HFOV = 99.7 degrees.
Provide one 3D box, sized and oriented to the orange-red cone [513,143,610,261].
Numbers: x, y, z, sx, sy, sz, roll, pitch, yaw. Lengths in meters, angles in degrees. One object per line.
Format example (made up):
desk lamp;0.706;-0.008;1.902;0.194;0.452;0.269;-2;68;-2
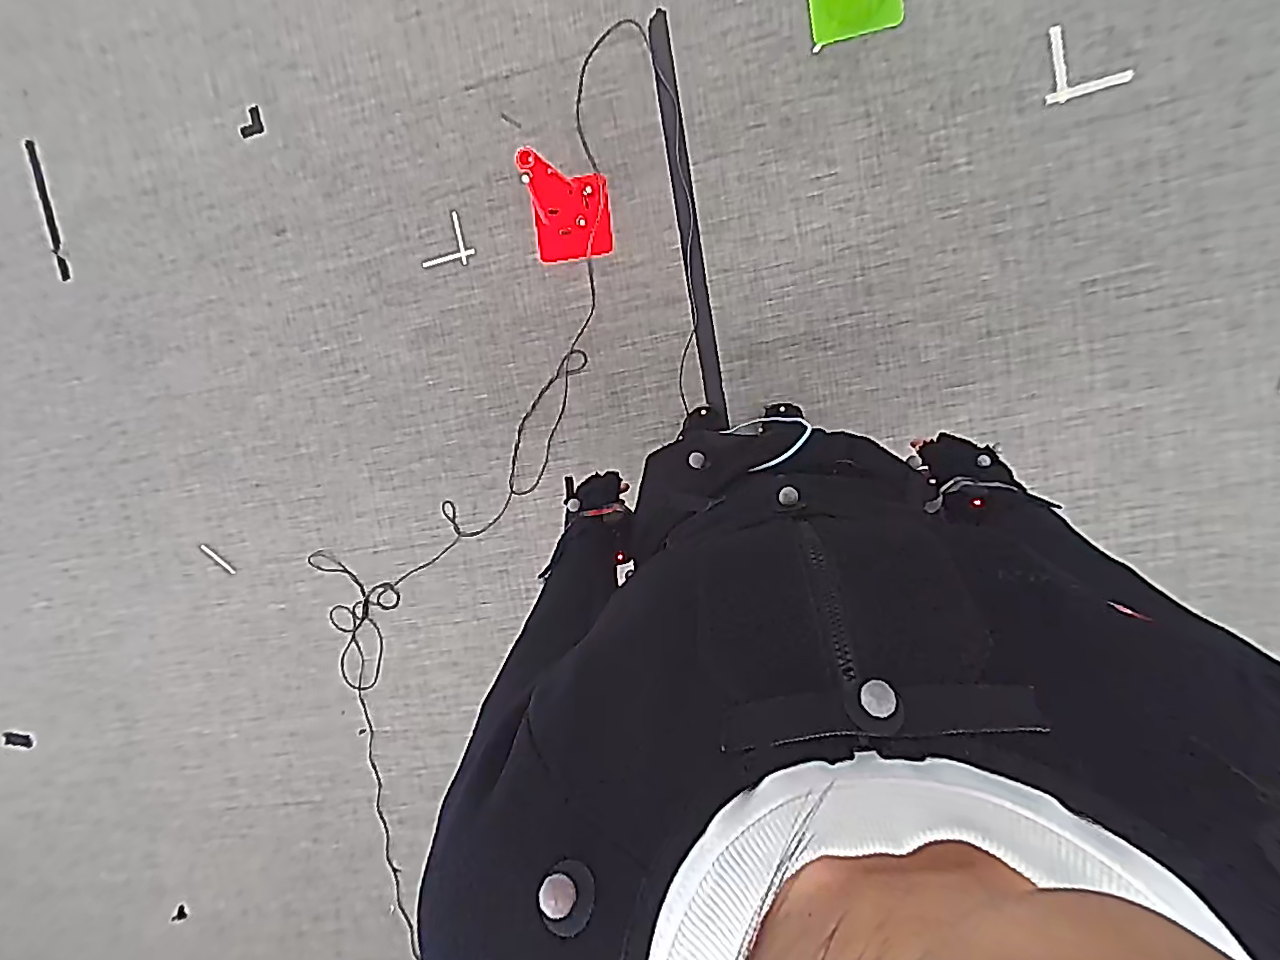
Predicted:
orange-red cone;-0.204;-0.650;1.214;0.199;0.360;0.198;-4;96;10

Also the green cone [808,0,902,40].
green cone;0.459;-1.094;1.053;0.202;0.368;0.200;-9;97;8
